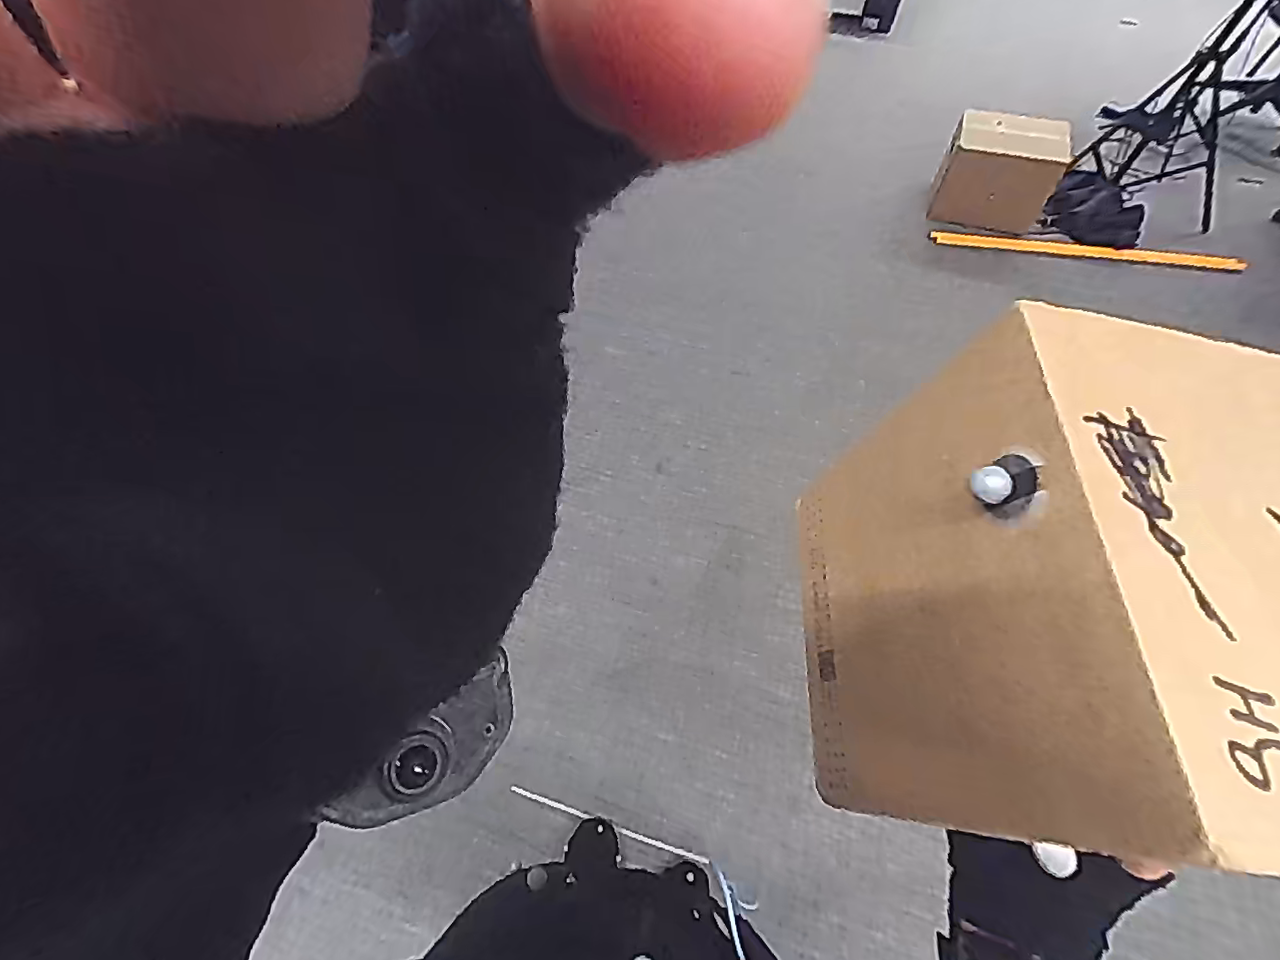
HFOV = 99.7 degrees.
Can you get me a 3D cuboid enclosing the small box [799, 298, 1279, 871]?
[{"bbox_3d":[0.190,0.058,0.237,0.179,0.176,0.168,11,63,-10],"label":"small box"}]
